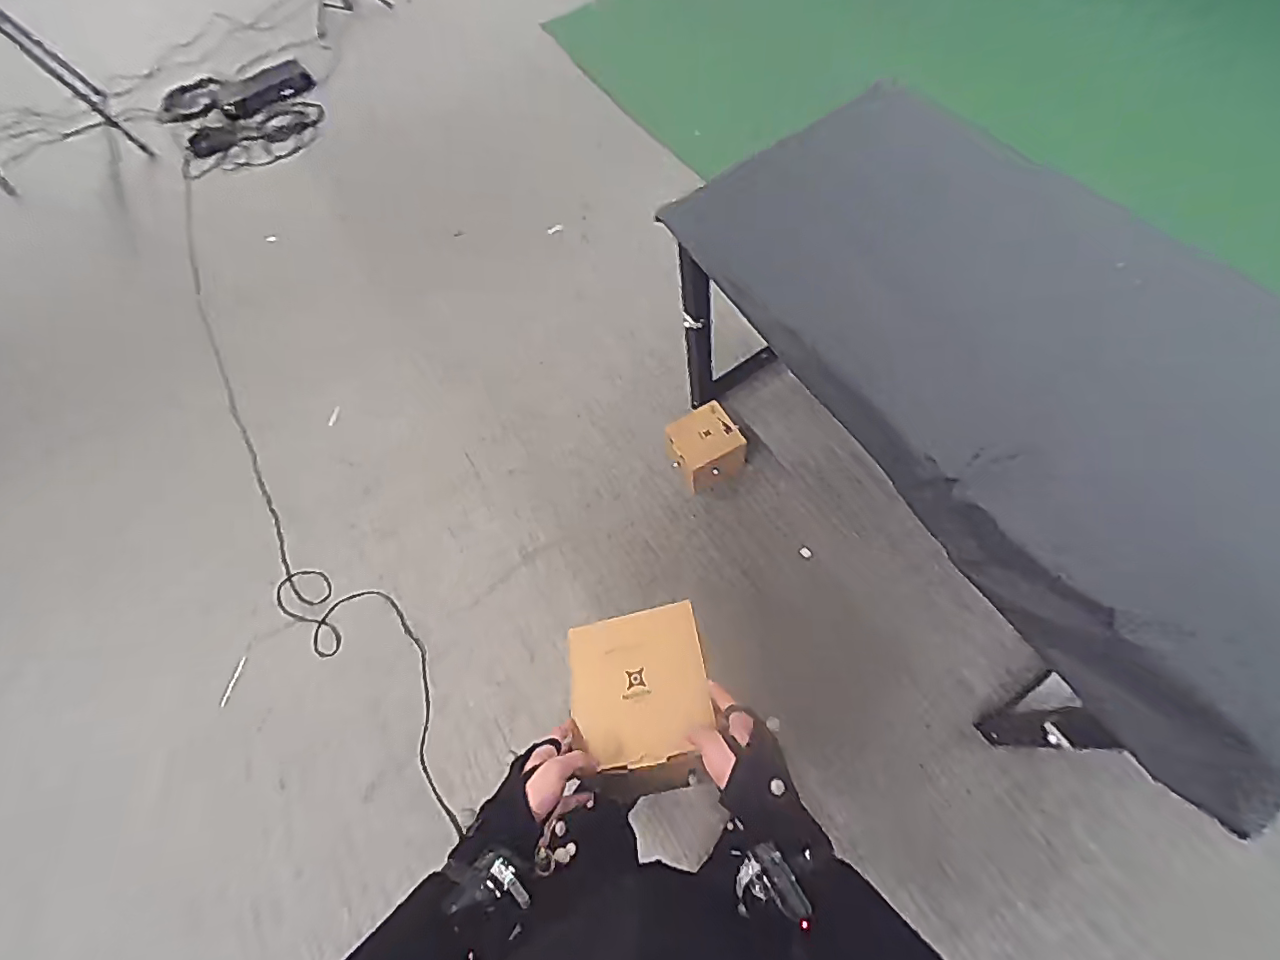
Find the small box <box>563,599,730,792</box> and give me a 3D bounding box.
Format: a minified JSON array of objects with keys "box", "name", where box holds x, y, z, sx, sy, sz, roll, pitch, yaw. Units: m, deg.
[{"box":[0.010,0.281,0.689,0.168,0.176,0.179,-15,48,7],"name":"small box"}]
